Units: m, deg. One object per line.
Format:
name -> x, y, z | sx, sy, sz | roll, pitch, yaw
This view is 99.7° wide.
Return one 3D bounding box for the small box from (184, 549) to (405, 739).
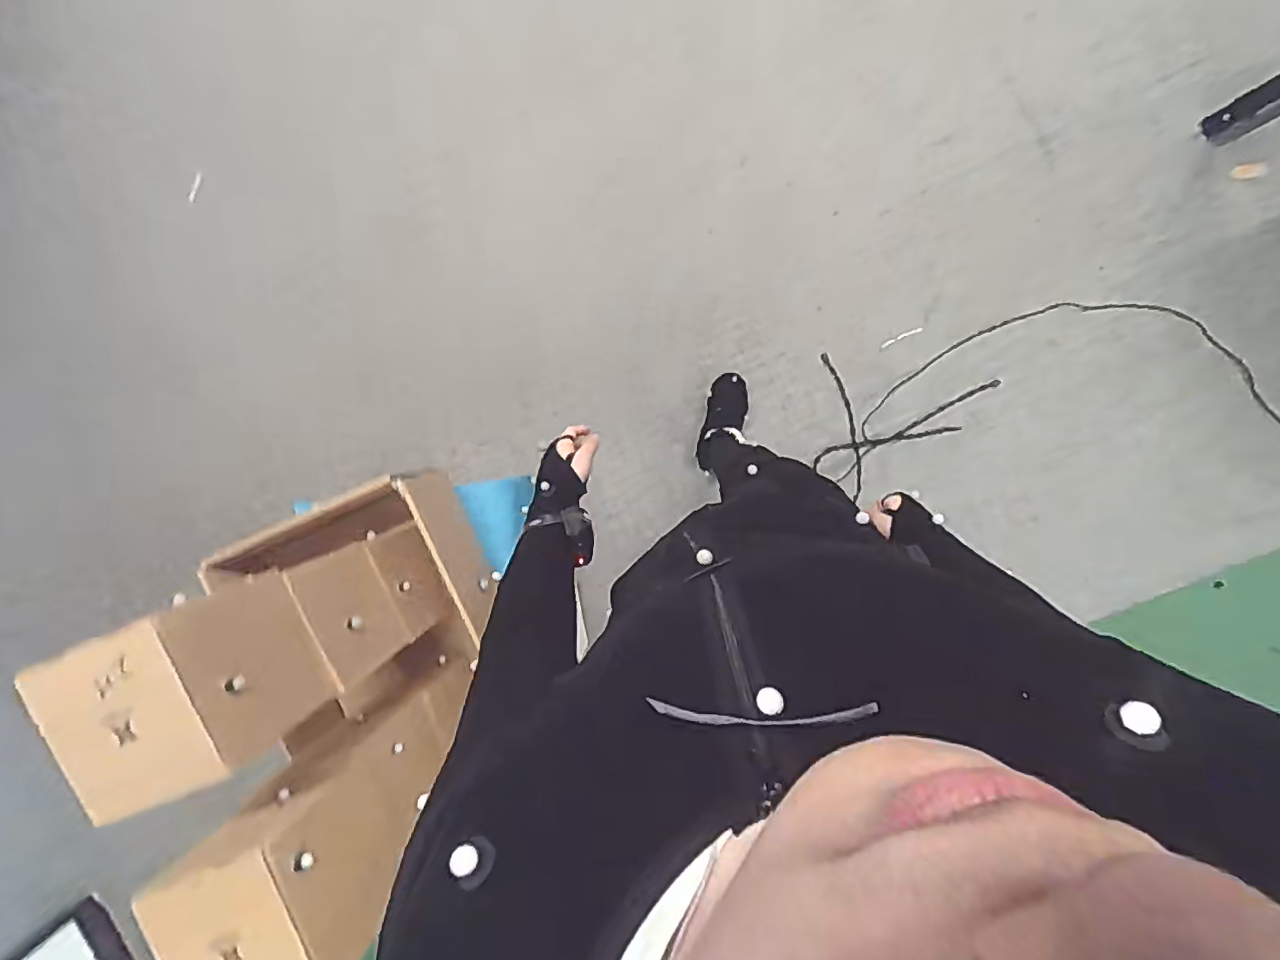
small box -> -0.474, 0.222, 0.772 | 0.168, 0.176, 0.179 | -25, 95, 6
